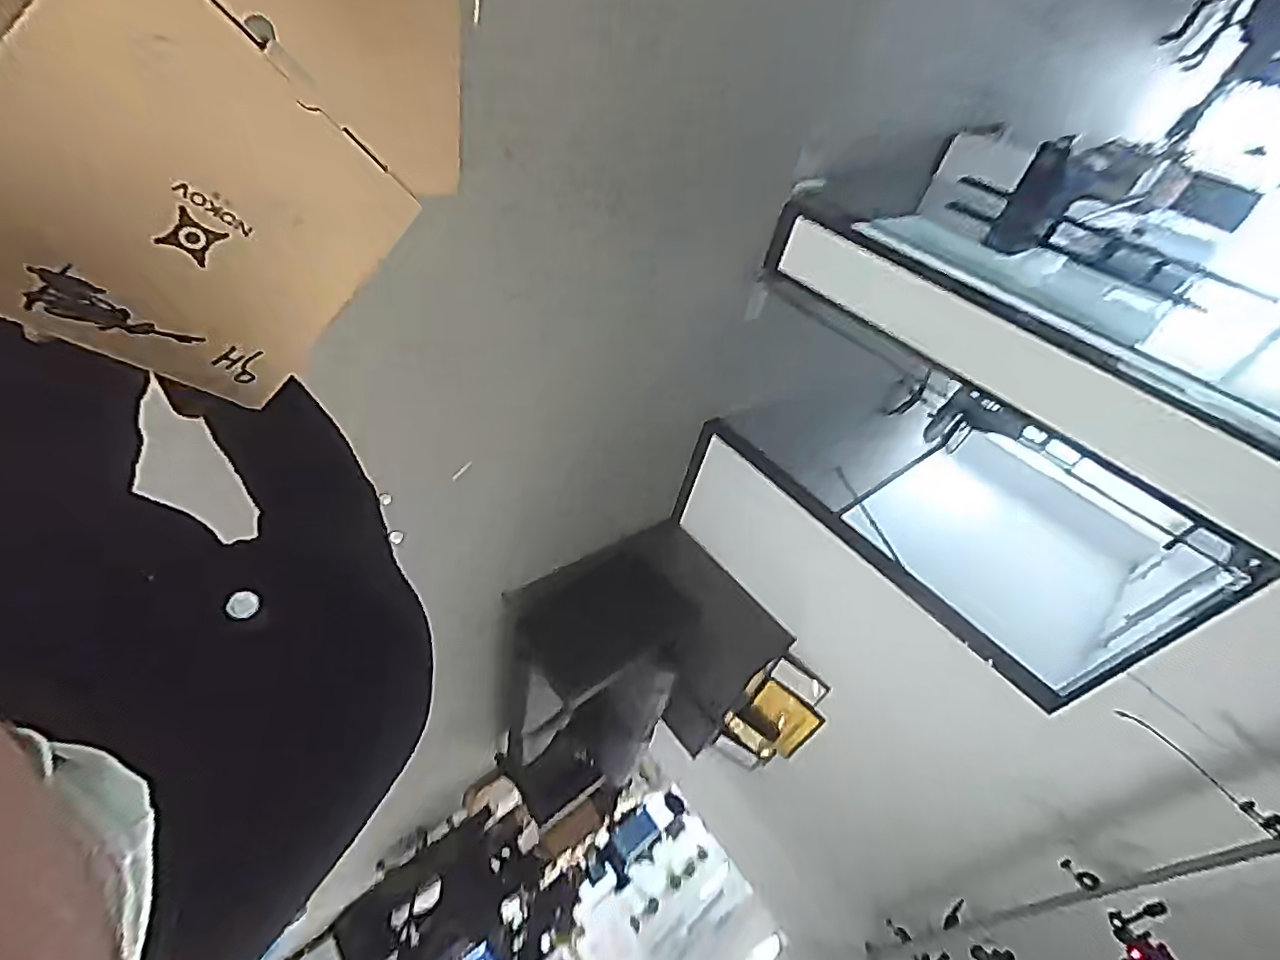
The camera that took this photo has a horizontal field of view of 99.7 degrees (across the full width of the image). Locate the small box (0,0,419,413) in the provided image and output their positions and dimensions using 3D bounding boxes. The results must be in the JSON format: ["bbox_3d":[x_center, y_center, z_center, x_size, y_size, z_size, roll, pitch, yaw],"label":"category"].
[{"bbox_3d":[-0.272,-0.175,0.301,0.179,0.176,0.168,-50,153,3],"label":"small box"}]
